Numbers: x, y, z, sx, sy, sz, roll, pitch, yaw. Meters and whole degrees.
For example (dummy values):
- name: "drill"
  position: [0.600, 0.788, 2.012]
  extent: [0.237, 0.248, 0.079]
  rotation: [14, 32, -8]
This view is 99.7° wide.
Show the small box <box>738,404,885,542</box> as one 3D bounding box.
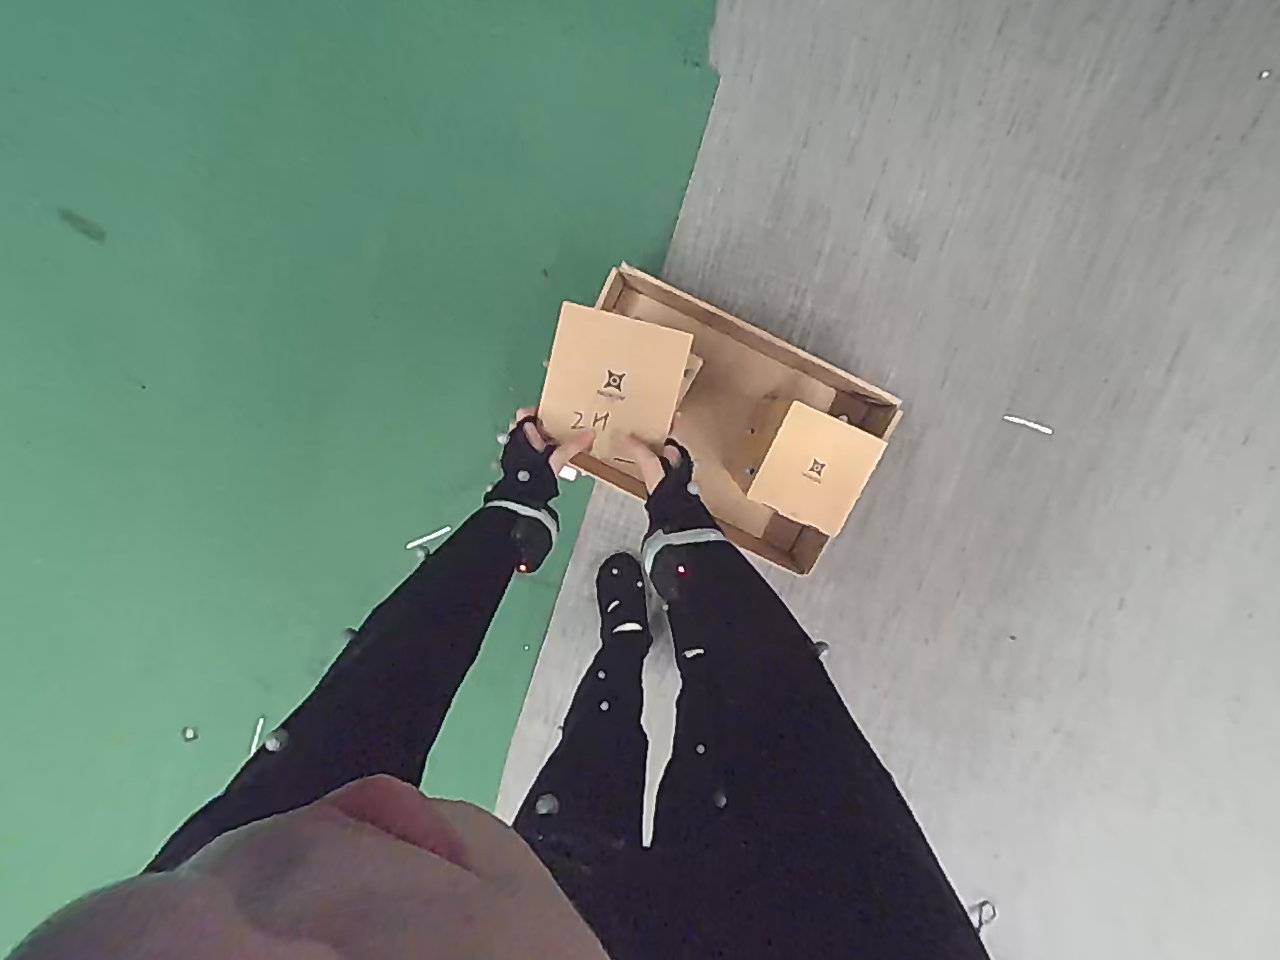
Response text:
- name: "small box"
  position: [0.284, -0.021, 0.945]
  extent: [0.168, 0.176, 0.179]
  rotation: [26, 100, 0]

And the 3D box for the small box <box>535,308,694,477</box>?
- name: "small box"
  position: [-0.034, -0.117, 0.744]
  extent: [0.168, 0.176, 0.179]
  rotation: [14, 98, -2]
